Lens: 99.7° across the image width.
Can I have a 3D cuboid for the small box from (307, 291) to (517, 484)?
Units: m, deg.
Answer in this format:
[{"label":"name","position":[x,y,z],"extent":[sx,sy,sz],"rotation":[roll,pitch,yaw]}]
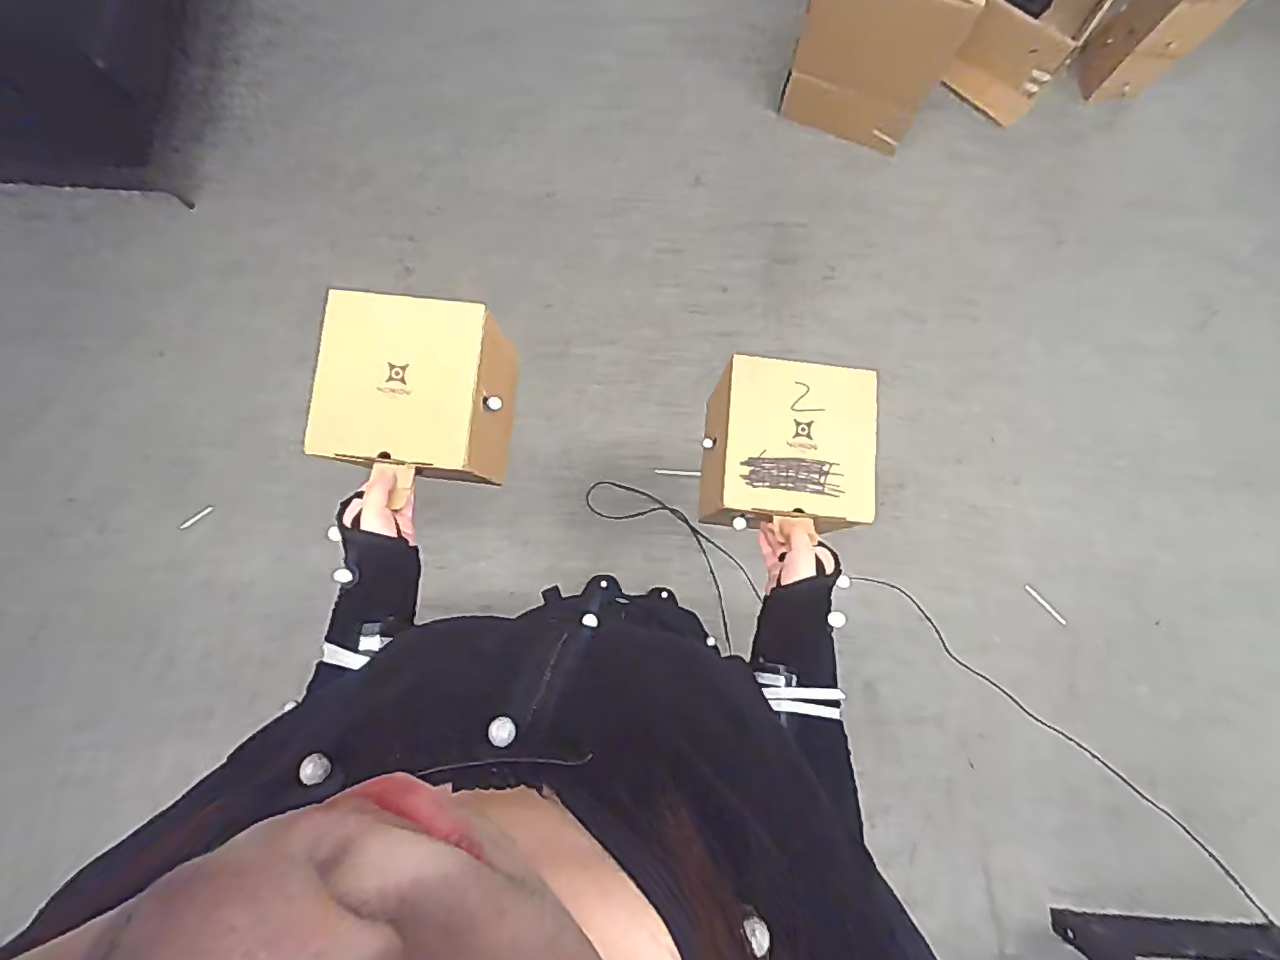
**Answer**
[{"label":"small box","position":[-0.247,-0.095,0.632],"extent":[0.168,0.176,0.179],"rotation":[6,85,0]}]
